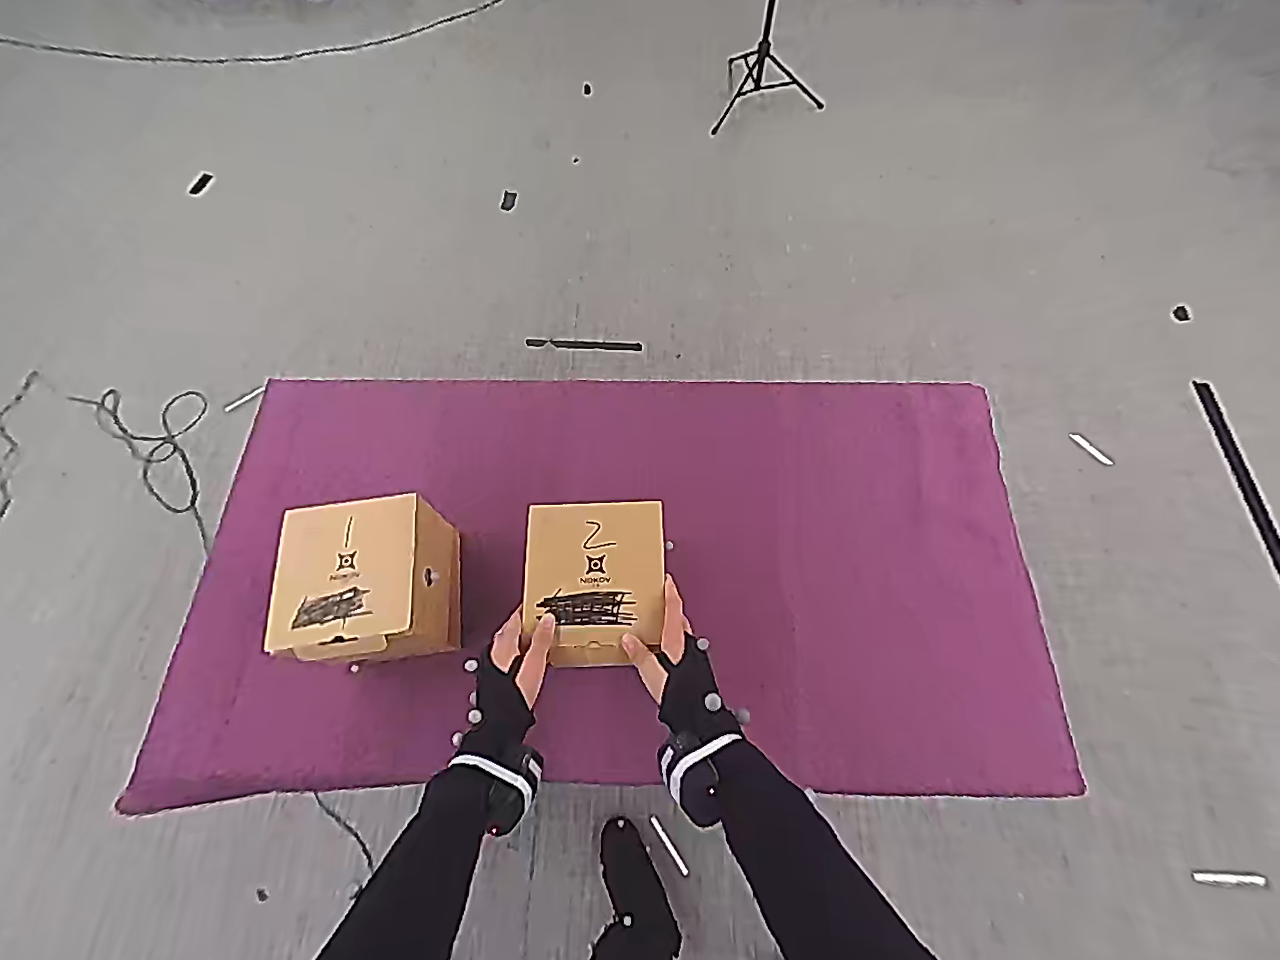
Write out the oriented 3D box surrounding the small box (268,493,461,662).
[{"bbox_3d":[-0.341,0.136,0.708,0.168,0.176,0.179,-7,66,-2],"label":"small box"}]
